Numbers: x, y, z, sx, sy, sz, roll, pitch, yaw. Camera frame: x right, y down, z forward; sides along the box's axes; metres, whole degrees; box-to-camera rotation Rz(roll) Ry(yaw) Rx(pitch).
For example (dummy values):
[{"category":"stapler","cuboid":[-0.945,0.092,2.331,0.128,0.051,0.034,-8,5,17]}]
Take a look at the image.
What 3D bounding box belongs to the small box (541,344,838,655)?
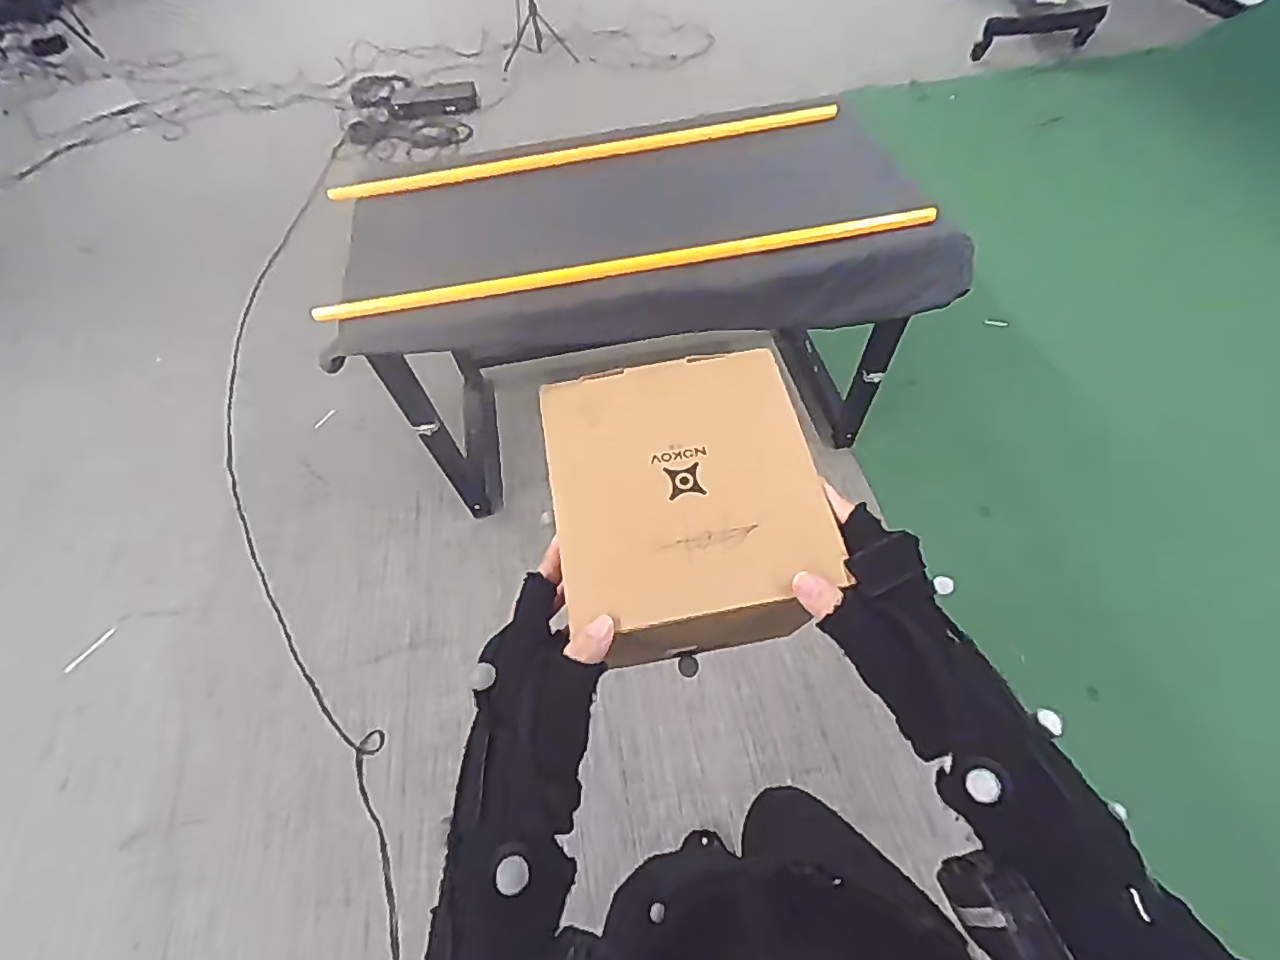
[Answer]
[{"category":"small box","cuboid":[0.024,0.025,0.420,0.168,0.176,0.179,-10,65,-3]}]
